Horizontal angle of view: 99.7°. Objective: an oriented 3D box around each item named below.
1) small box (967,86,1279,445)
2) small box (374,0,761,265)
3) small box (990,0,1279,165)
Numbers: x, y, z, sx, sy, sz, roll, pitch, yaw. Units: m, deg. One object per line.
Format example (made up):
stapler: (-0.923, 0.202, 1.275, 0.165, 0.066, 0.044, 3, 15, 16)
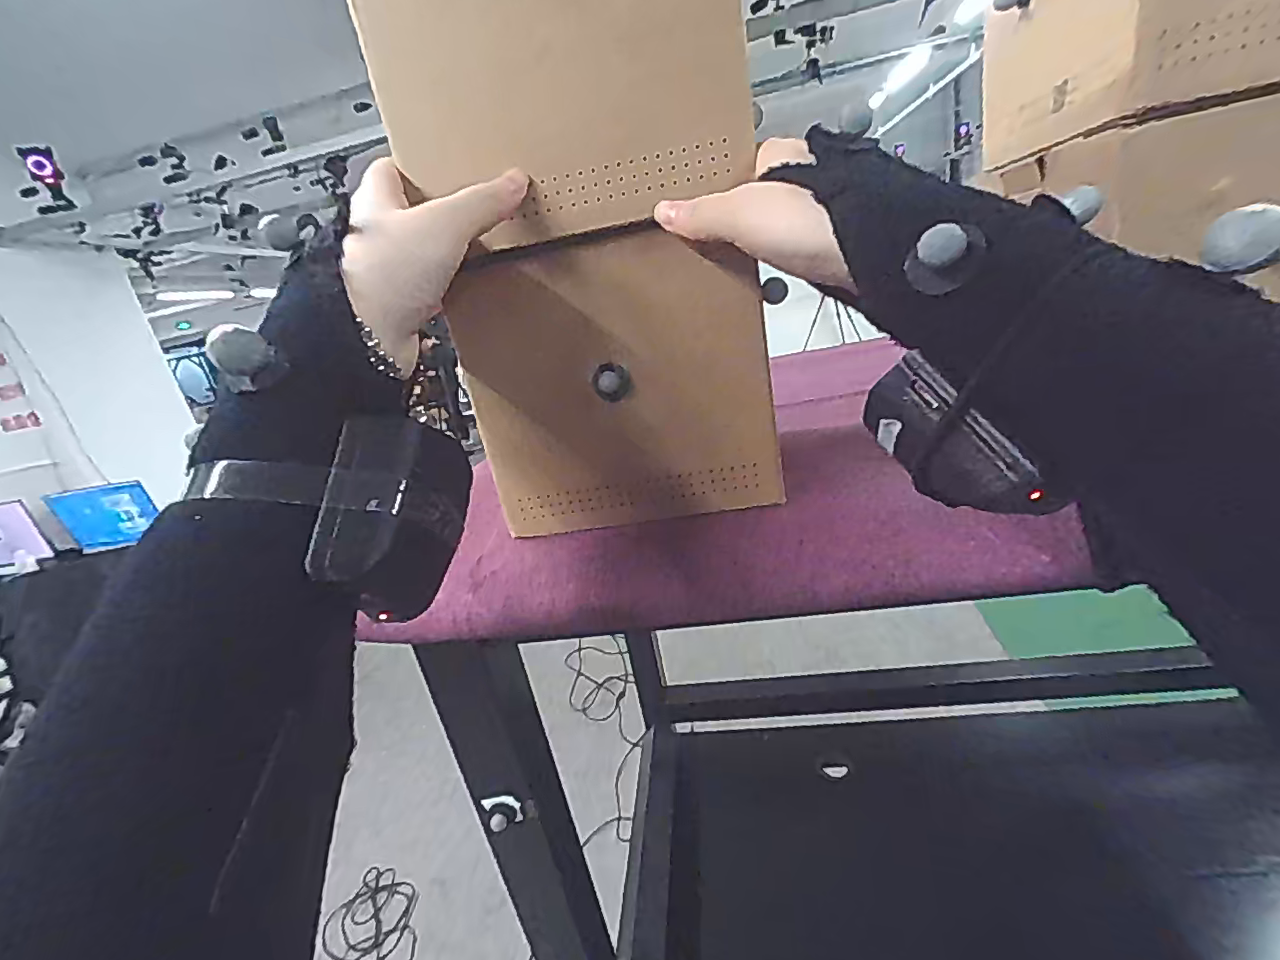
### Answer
small box: (0.332, -0.127, 0.338, 0.179, 0.176, 0.168, -8, 20, 11)
small box: (-0.034, -0.227, 0.318, 0.179, 0.176, 0.168, -7, 20, 6)
small box: (0.305, -0.277, 0.279, 0.179, 0.176, 0.168, -6, 20, 13)
